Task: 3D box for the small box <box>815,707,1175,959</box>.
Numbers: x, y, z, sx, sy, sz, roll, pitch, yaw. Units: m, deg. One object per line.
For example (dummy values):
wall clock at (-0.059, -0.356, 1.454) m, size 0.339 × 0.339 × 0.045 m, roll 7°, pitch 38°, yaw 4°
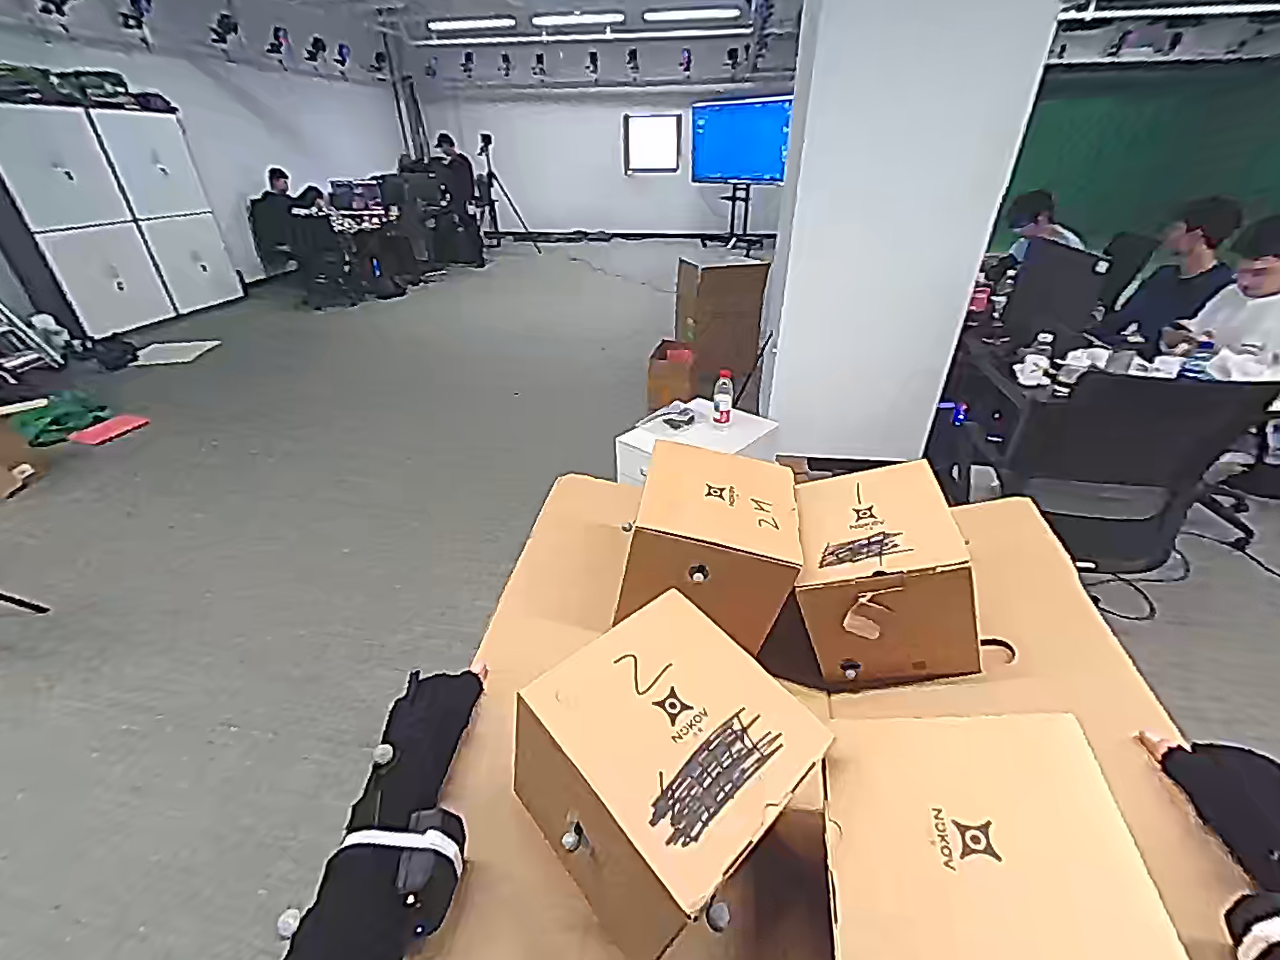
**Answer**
small box at (0.237, 0.288, 0.394) m, size 0.179 × 0.176 × 0.168 m, roll -13°, pitch 34°, yaw 23°
